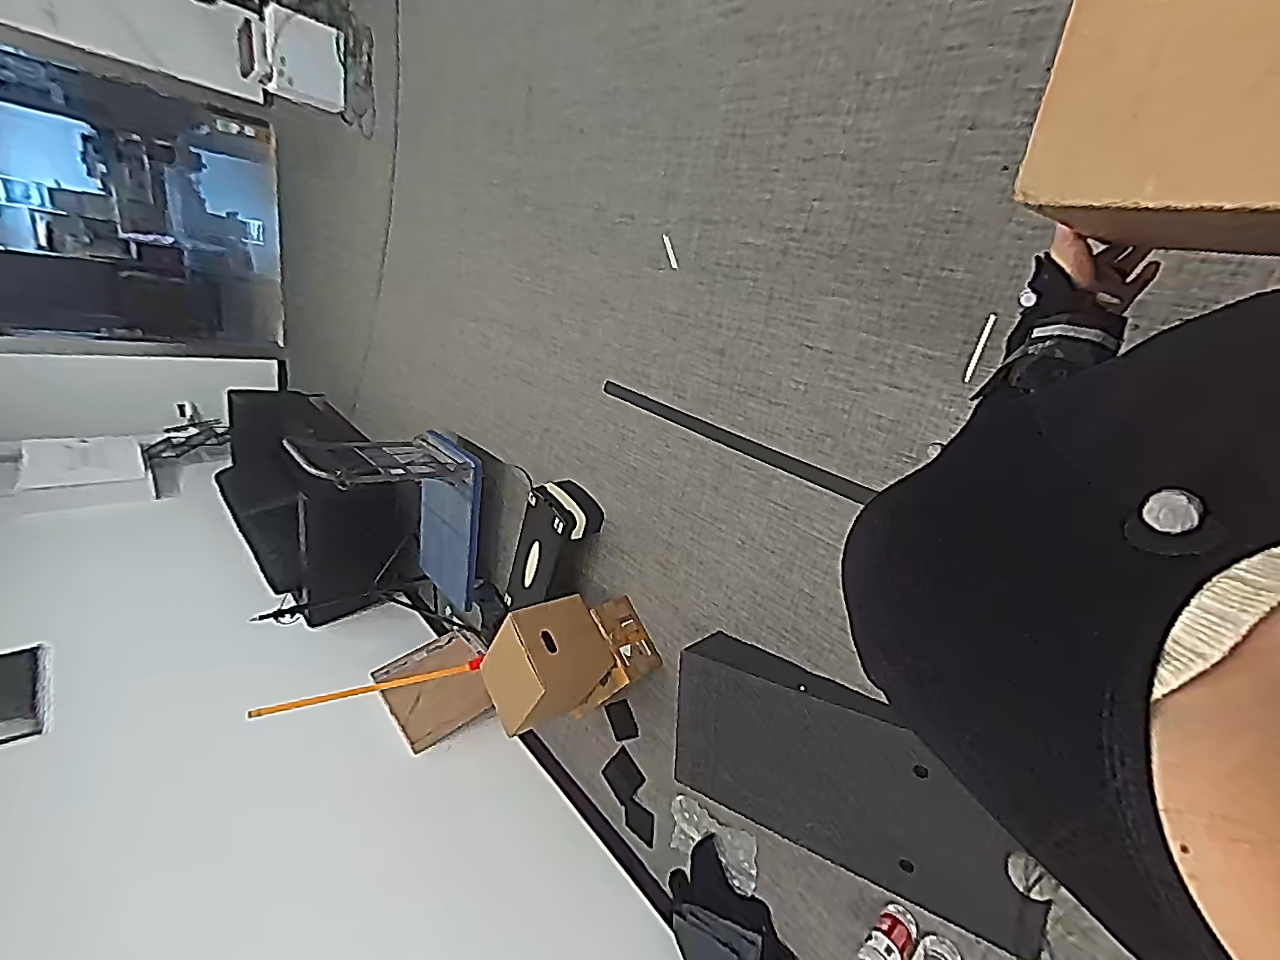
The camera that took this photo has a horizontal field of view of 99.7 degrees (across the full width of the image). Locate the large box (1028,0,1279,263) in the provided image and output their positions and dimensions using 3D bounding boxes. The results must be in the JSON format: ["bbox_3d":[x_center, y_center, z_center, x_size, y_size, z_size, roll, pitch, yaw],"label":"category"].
[{"bbox_3d":[0.489,-0.269,0.246,0.408,0.320,0.320,26,121,40],"label":"large box"}]
